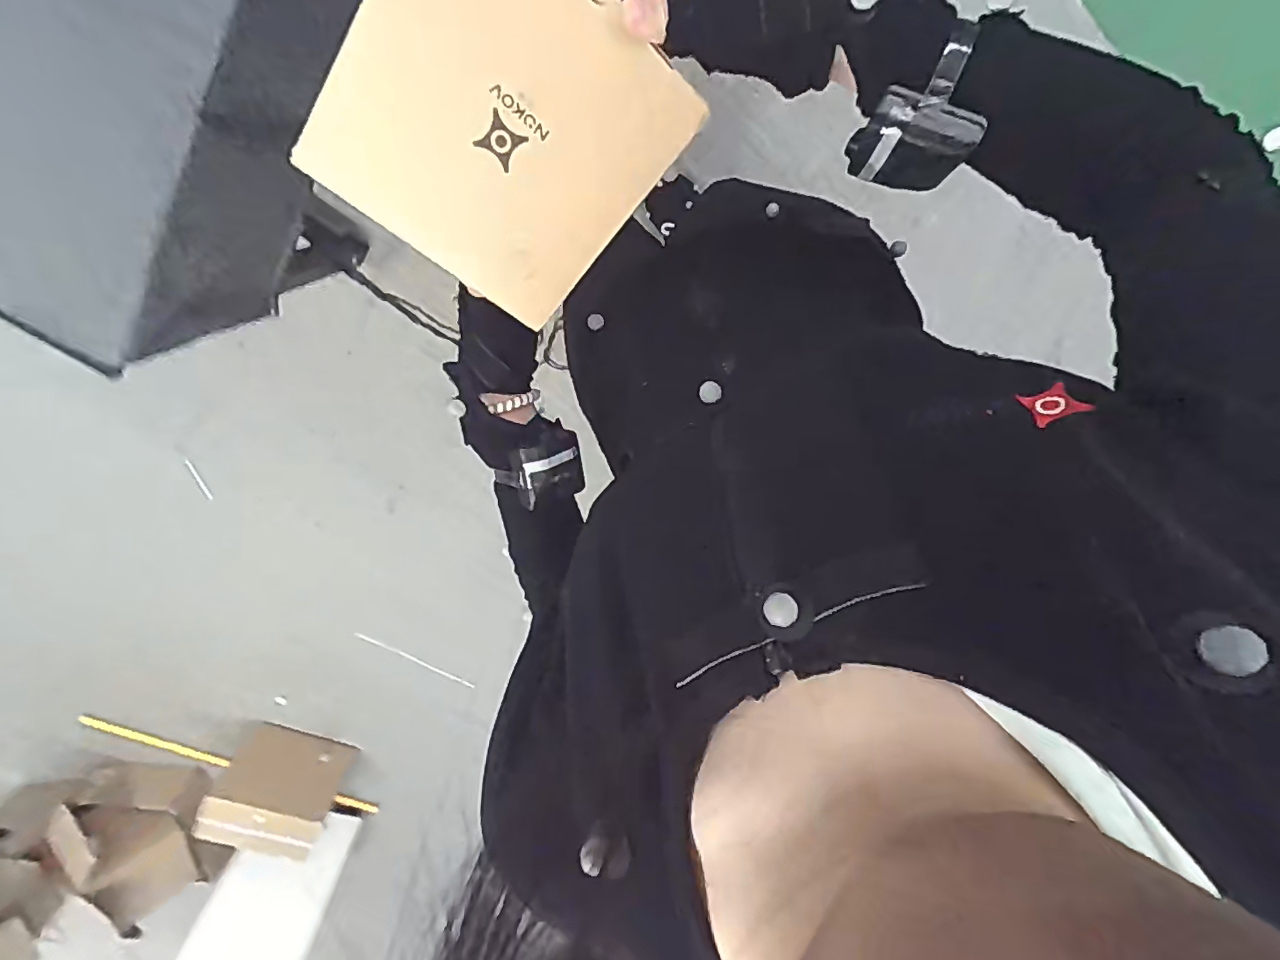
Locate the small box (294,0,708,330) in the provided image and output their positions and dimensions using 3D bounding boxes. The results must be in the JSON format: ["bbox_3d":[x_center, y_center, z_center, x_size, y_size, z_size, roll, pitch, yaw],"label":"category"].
[{"bbox_3d":[-0.084,-0.243,0.361,0.168,0.176,0.179,31,118,-31],"label":"small box"}]
